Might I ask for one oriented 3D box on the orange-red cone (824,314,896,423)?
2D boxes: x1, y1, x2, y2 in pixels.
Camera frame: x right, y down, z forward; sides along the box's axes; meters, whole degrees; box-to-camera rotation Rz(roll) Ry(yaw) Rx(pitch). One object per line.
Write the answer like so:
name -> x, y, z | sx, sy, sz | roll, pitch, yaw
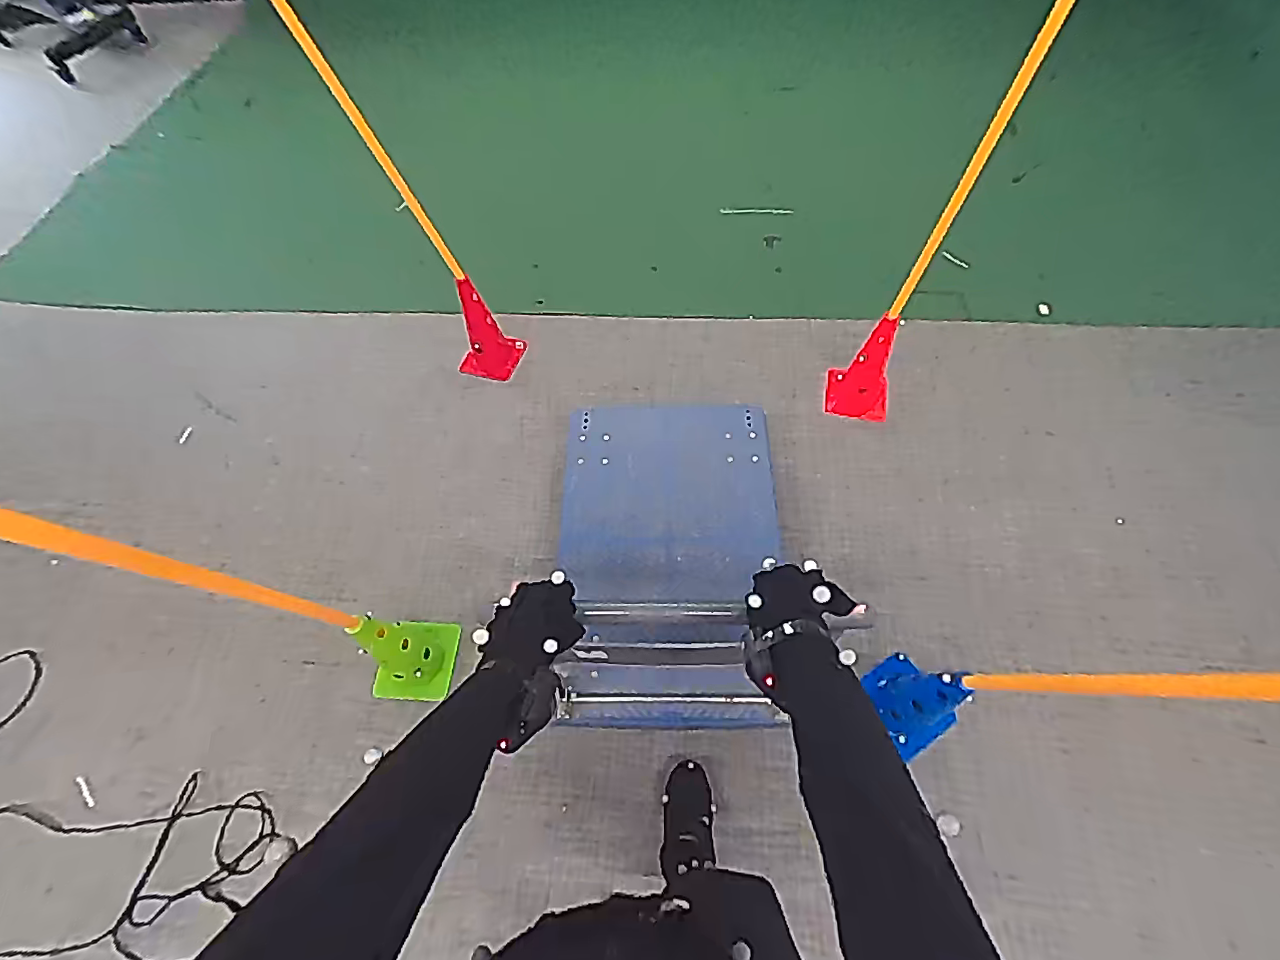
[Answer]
orange-red cone -> 0.716, -0.366, 1.670 | 0.198, 0.360, 0.199 | 12, 62, 11
